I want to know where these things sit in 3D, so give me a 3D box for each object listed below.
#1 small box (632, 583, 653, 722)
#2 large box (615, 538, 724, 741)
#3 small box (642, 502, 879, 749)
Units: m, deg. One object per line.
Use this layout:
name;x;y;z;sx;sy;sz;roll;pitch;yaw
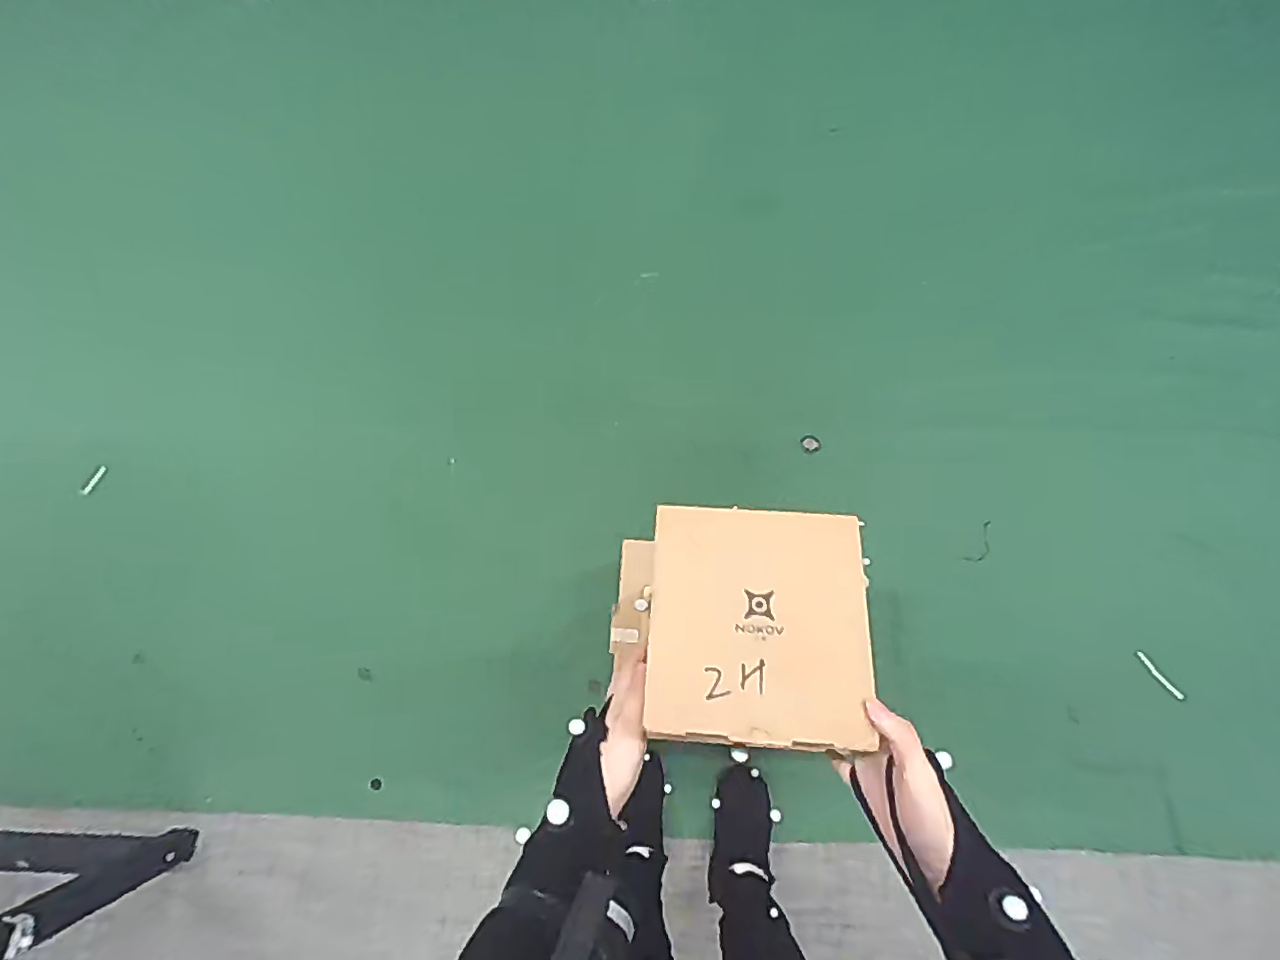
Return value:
small box;0.079;0.246;0.779;0.168;0.176;0.179;6;79;2
large box;0.164;0.290;1.017;0.408;0.320;0.320;4;78;1
small box;0.091;0.135;0.480;0.168;0.176;0.179;3;65;4
